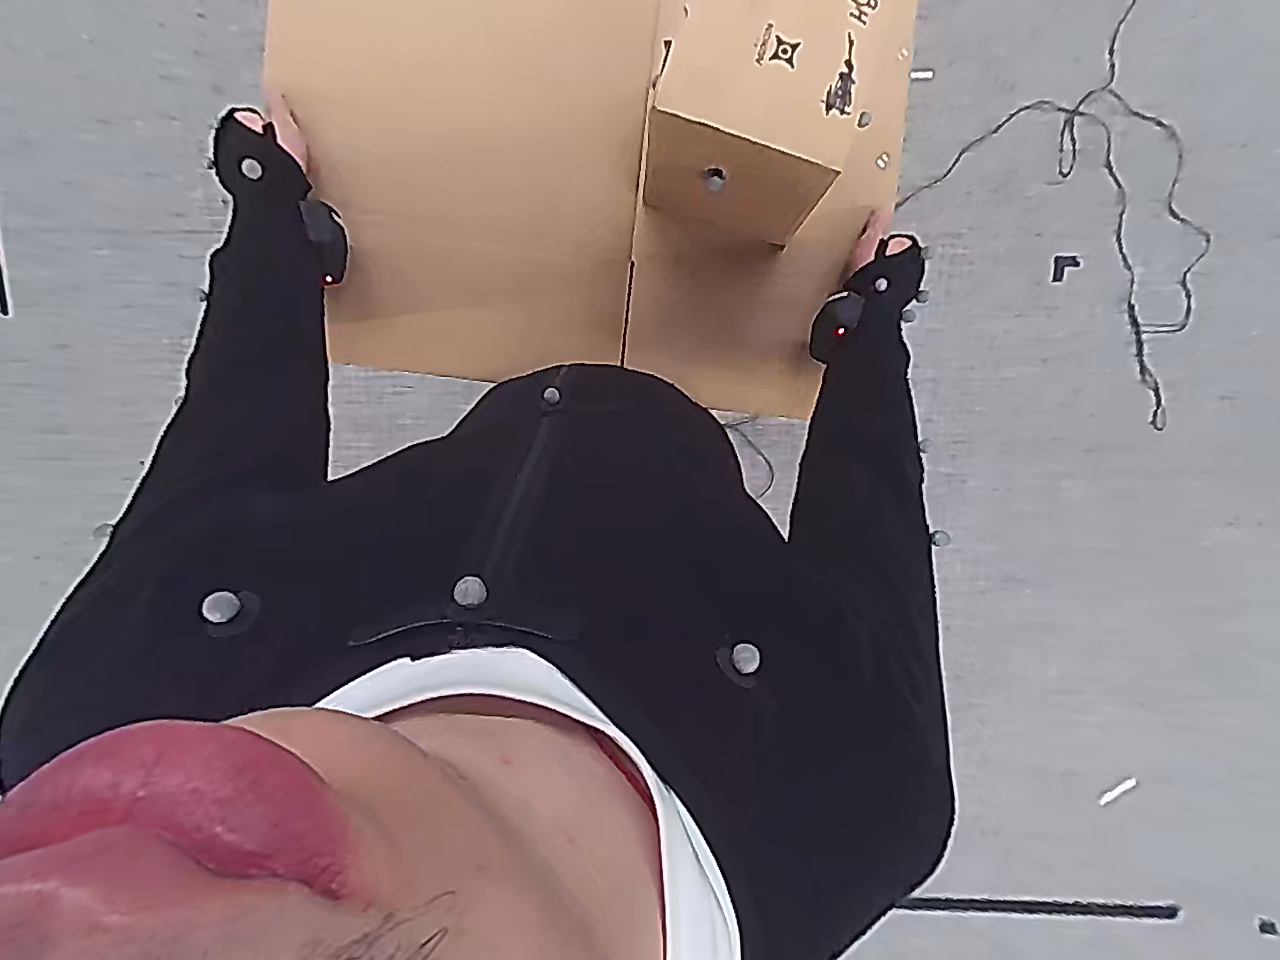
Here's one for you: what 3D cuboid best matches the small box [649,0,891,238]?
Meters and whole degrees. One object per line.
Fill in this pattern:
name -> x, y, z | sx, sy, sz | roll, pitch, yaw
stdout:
small box -> 0.112, -0.374, 0.549 | 0.179, 0.176, 0.168 | 17, 92, -2
